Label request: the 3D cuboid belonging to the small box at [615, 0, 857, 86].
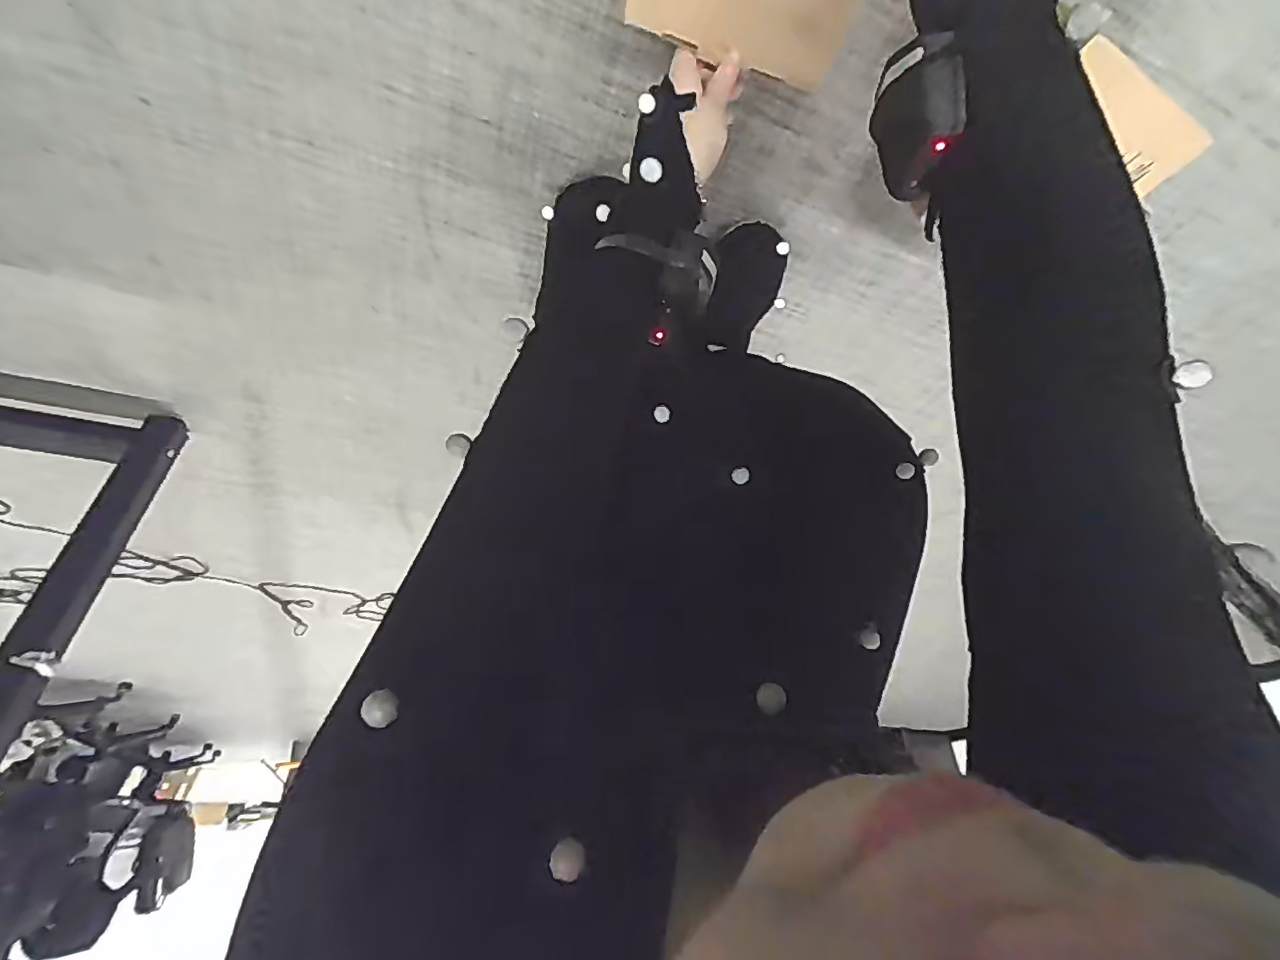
[{"bbox_3d":[0.085,-0.434,0.380,0.168,0.176,0.179,10,145,-15],"label":"small box"}]
